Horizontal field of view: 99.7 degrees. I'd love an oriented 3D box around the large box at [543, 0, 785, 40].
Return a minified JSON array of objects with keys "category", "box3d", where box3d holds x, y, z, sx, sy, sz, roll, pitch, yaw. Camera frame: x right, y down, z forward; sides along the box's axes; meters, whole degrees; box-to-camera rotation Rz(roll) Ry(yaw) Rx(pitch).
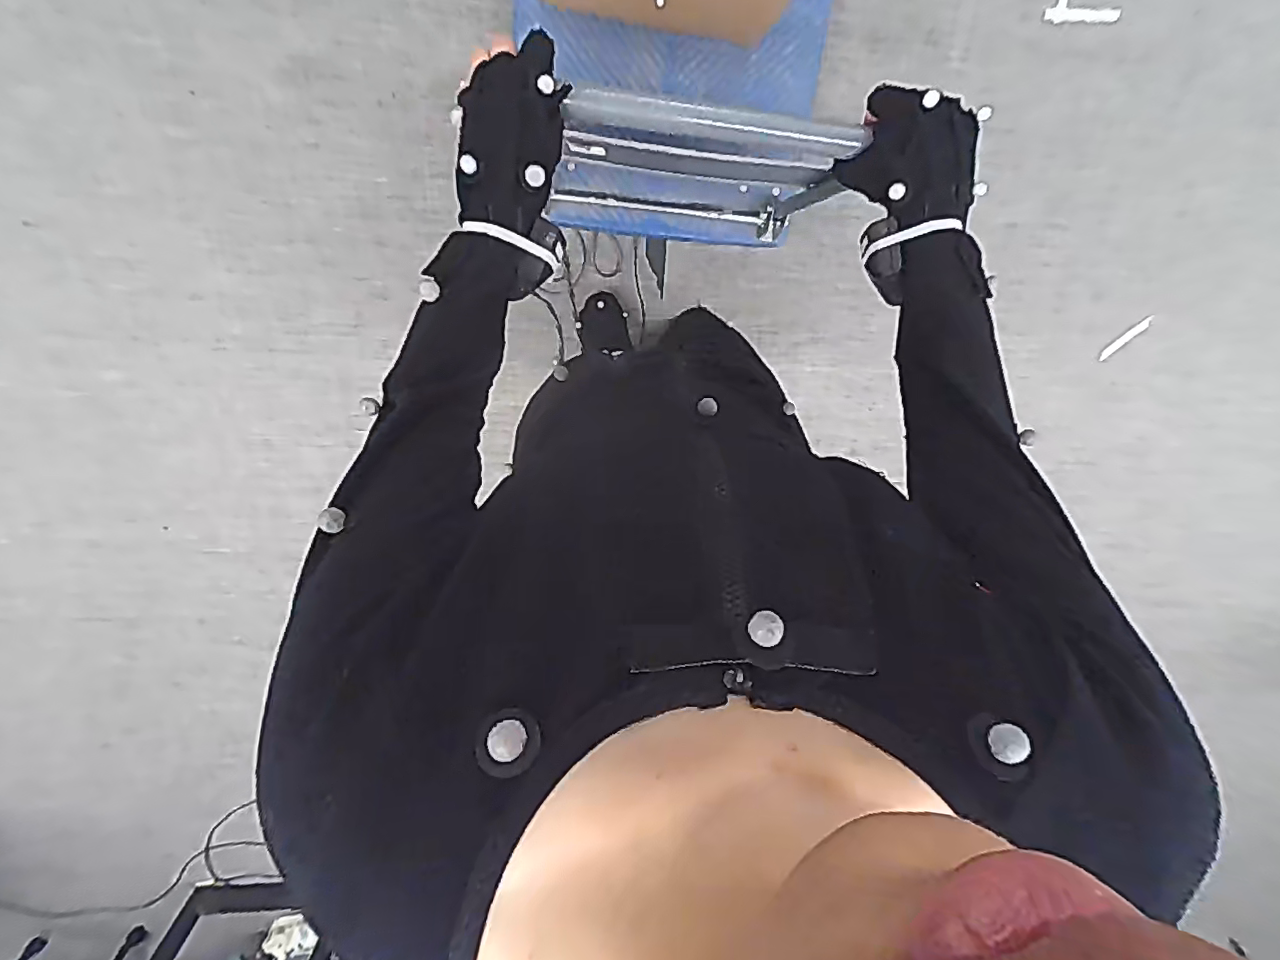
[{"category":"large box","box3d":[0.047,-0.926,0.816,0.408,0.320,0.320,5,112,-6]}]
